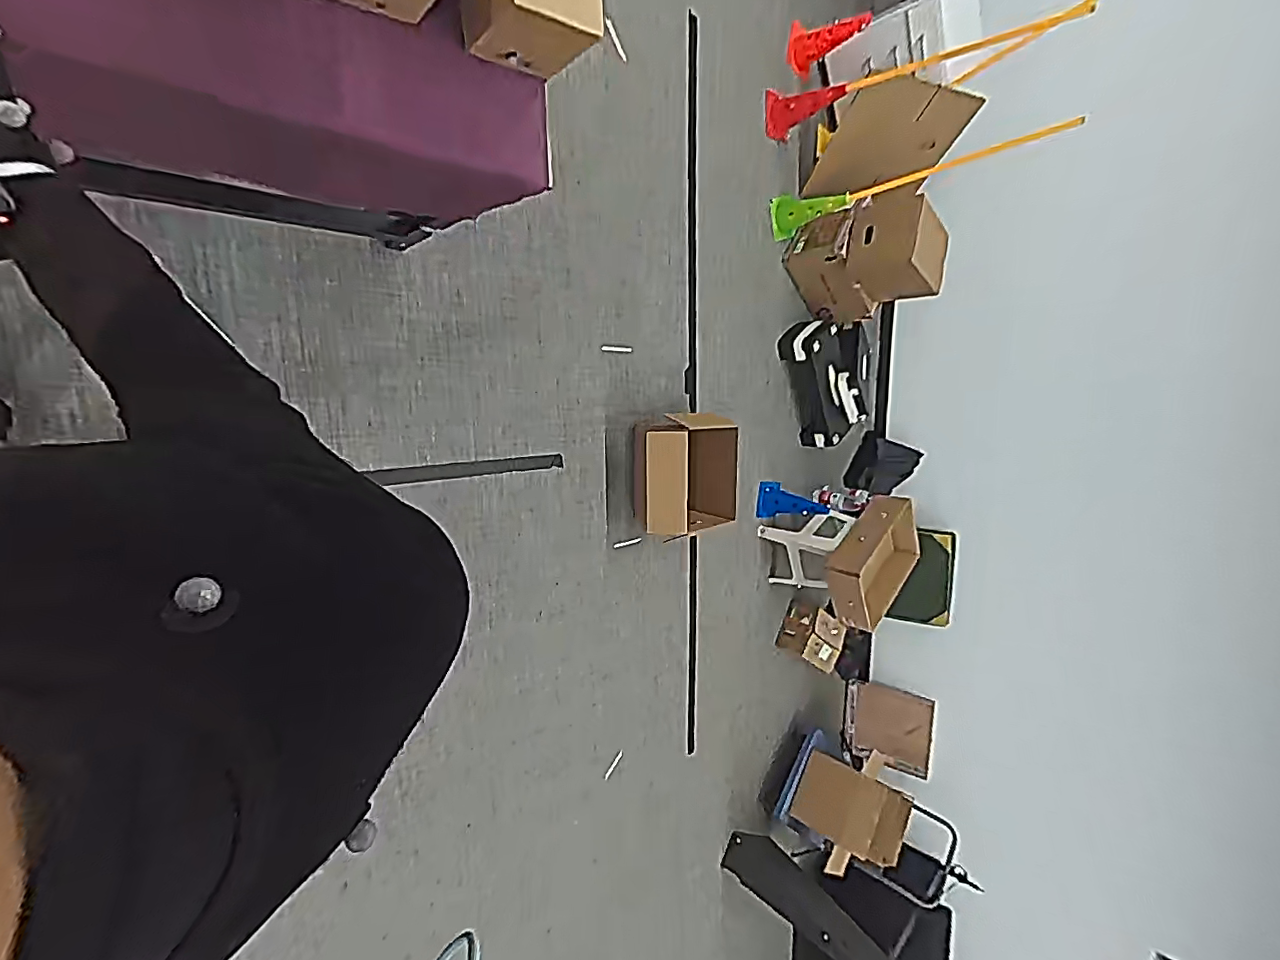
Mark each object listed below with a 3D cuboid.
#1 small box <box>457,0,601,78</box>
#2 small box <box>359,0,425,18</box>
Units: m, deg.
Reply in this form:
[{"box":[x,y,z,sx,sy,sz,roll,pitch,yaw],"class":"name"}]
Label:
[{"box":[-0.183,-0.790,0.858,0.168,0.176,0.179,-15,107,-39],"class":"small box"},{"box":[-0.358,-0.754,0.698,0.168,0.176,0.179,-18,109,-41],"class":"small box"}]
